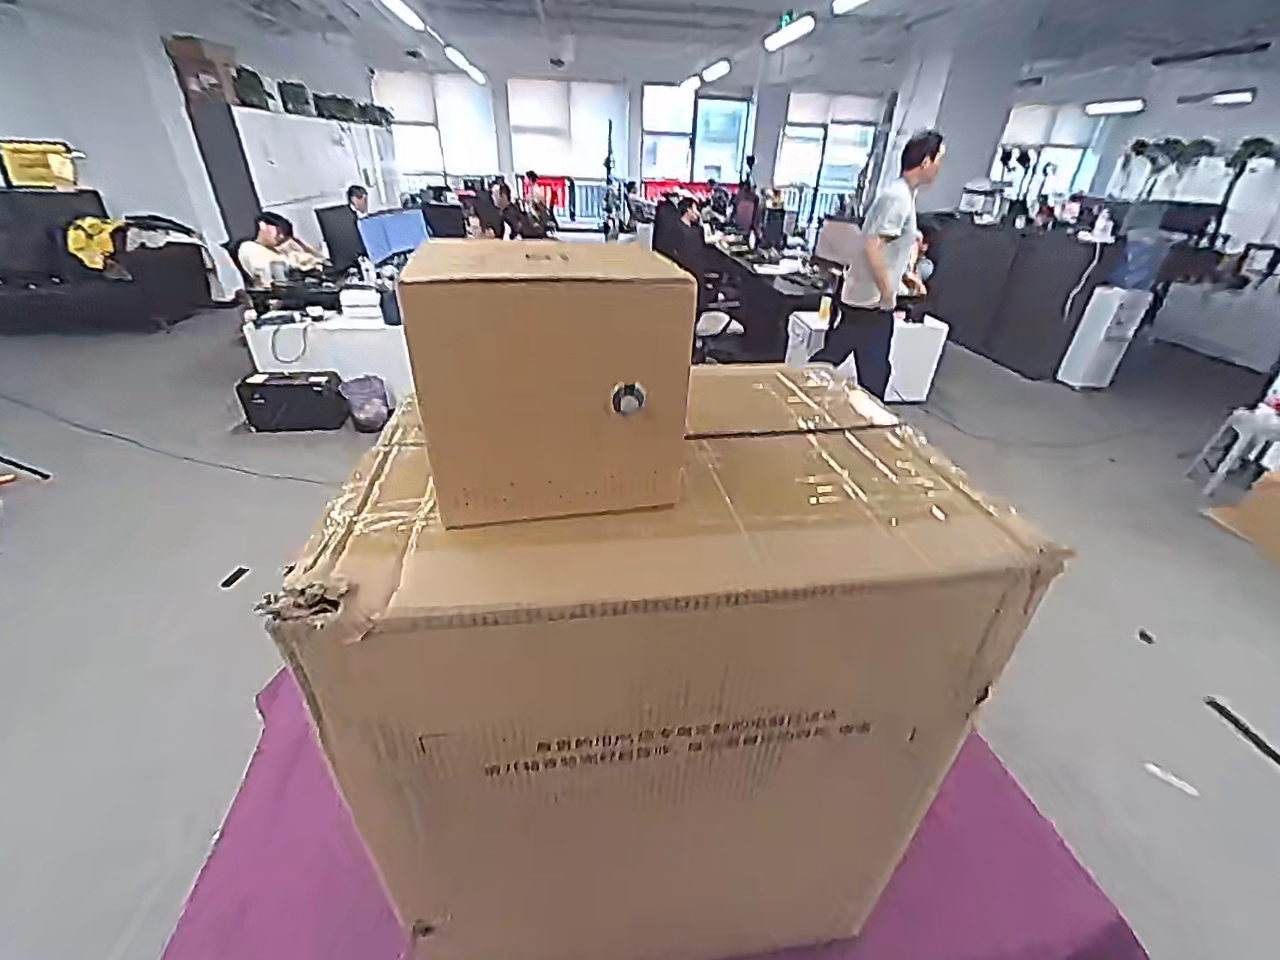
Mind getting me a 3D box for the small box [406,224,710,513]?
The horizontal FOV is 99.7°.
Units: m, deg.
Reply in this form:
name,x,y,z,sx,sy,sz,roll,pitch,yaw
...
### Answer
name,x,y,z,sx,sy,sz,roll,pitch,yaw
small box,-0.062,-0.092,0.413,0.179,0.176,0.168,-6,31,-13
